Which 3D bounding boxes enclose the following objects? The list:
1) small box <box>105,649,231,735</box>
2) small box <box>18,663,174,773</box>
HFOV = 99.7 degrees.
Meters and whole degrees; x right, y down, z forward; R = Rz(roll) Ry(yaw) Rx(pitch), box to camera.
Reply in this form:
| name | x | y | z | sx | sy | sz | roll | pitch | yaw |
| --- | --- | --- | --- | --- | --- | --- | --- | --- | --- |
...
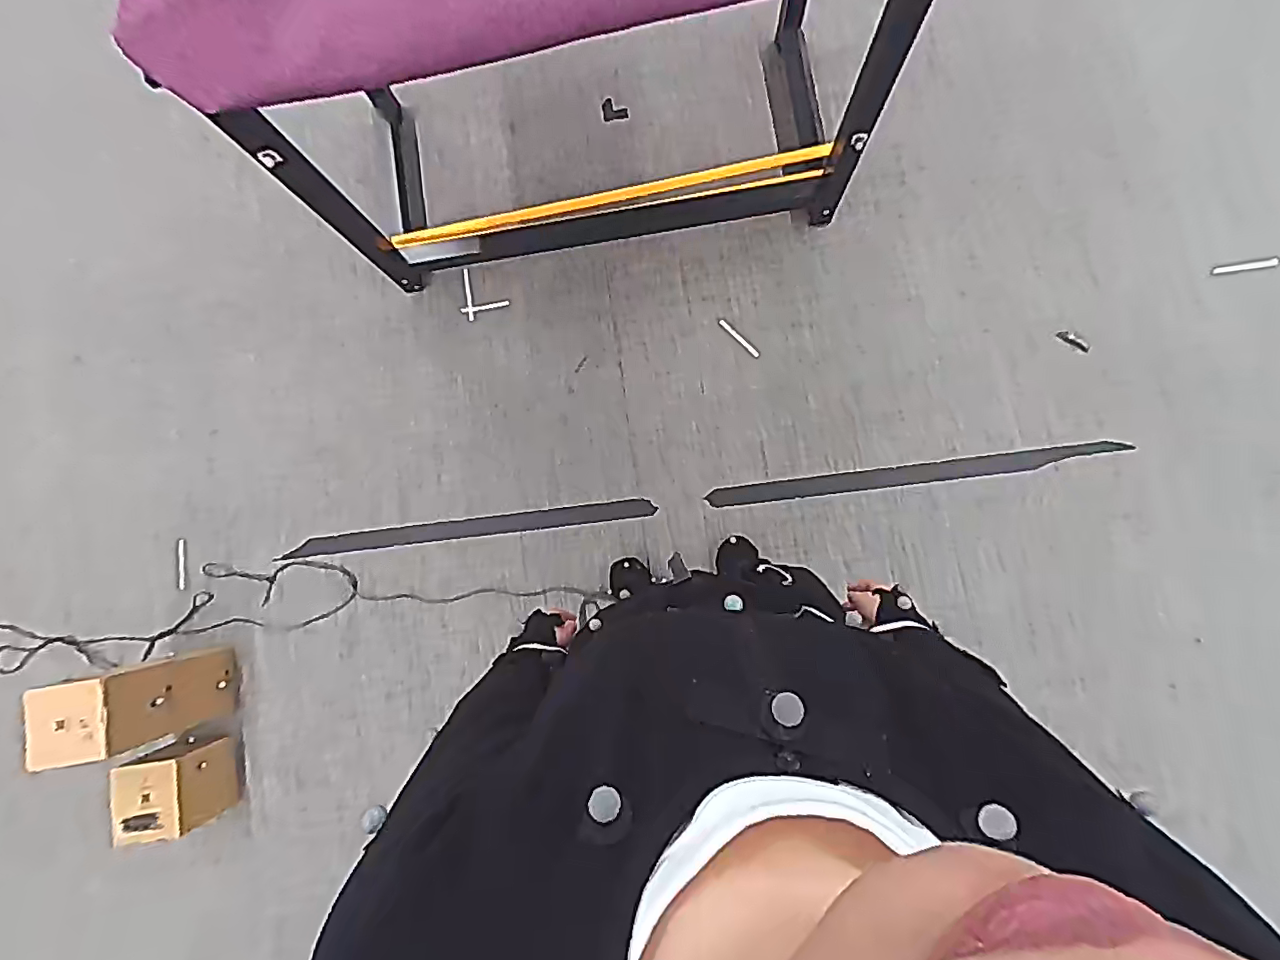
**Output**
| name | x | y | z | sx | sy | sz | roll | pitch | yaw |
| --- | --- | --- | --- | --- | --- | --- | --- | --- | --- |
| small box | -1.162 | 0.527 | 1.338 | 0.179 | 0.176 | 0.168 | -8 | 84 | 2 |
| small box | -1.171 | 0.508 | 1.174 | 0.179 | 0.176 | 0.168 | -10 | 84 | 2 |
